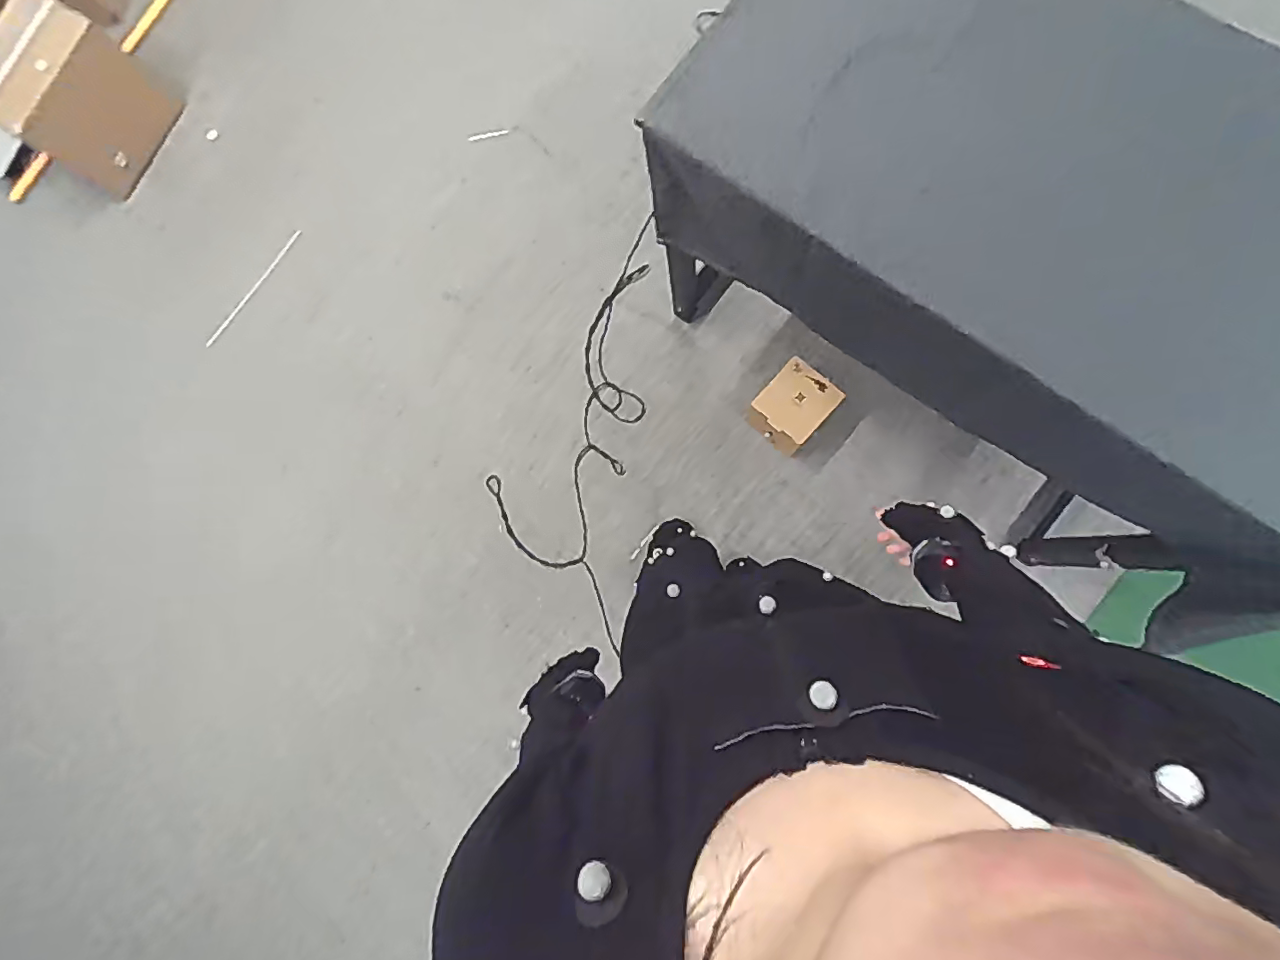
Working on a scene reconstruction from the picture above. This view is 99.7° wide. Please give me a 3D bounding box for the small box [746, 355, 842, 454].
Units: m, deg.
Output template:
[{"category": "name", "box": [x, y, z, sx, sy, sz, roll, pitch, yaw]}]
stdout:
[{"category": "small box", "box": [0.395, -0.189, 1.423, 0.168, 0.176, 0.179, 42, 89, 10]}]
